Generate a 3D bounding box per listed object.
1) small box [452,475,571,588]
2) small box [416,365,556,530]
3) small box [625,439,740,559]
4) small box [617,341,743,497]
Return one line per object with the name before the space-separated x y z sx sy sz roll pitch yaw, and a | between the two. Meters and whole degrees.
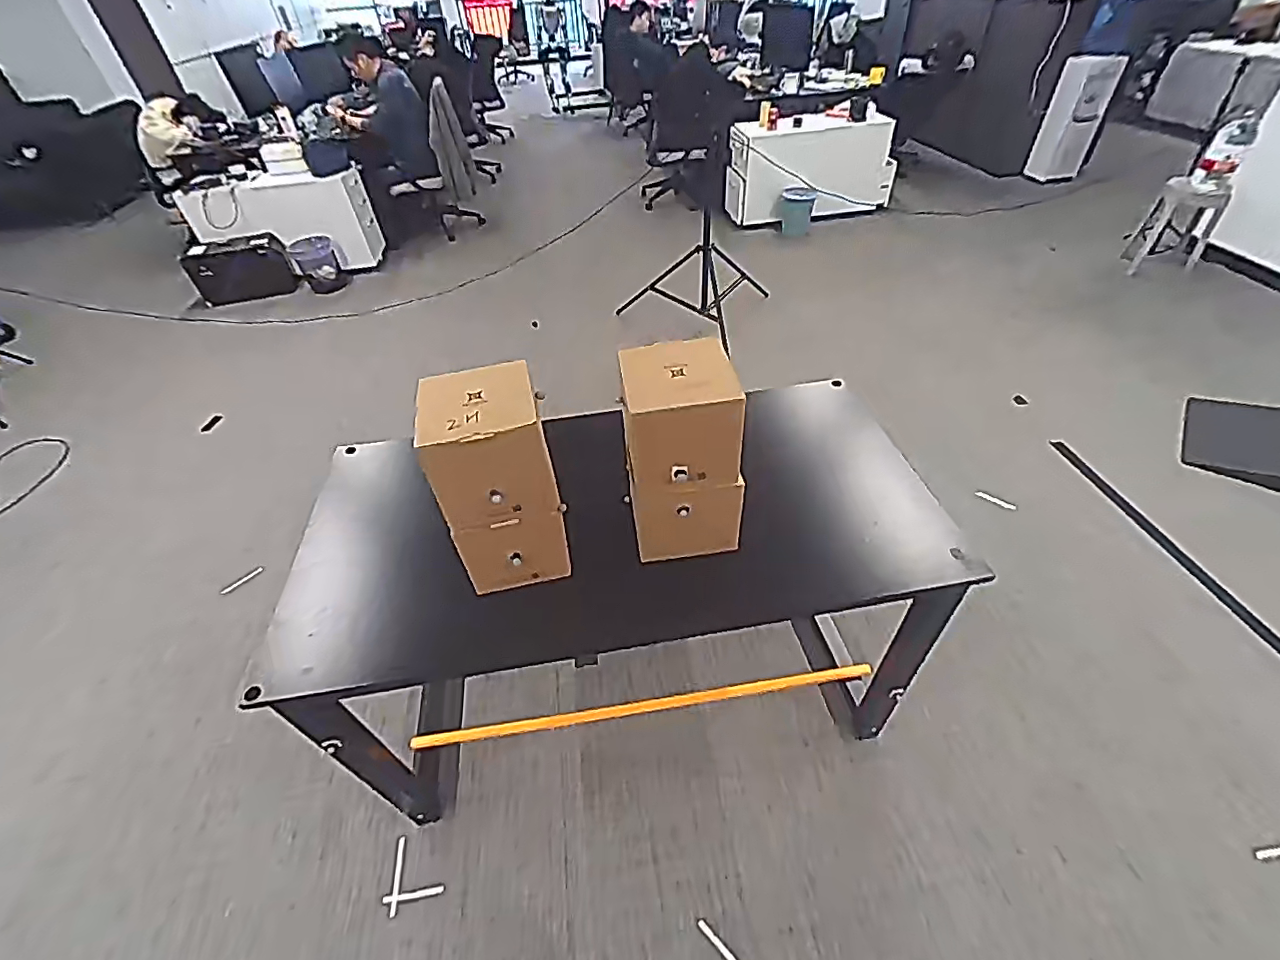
small box | -0.222 0.071 0.951 0.168 0.176 0.179 -12 44 -7
small box | -0.233 -0.051 0.839 0.168 0.176 0.179 -13 44 -7
small box | 0.072 0.025 0.972 0.179 0.176 0.168 -7 44 -3
small box | 0.059 -0.098 0.866 0.168 0.176 0.179 -9 45 -2
